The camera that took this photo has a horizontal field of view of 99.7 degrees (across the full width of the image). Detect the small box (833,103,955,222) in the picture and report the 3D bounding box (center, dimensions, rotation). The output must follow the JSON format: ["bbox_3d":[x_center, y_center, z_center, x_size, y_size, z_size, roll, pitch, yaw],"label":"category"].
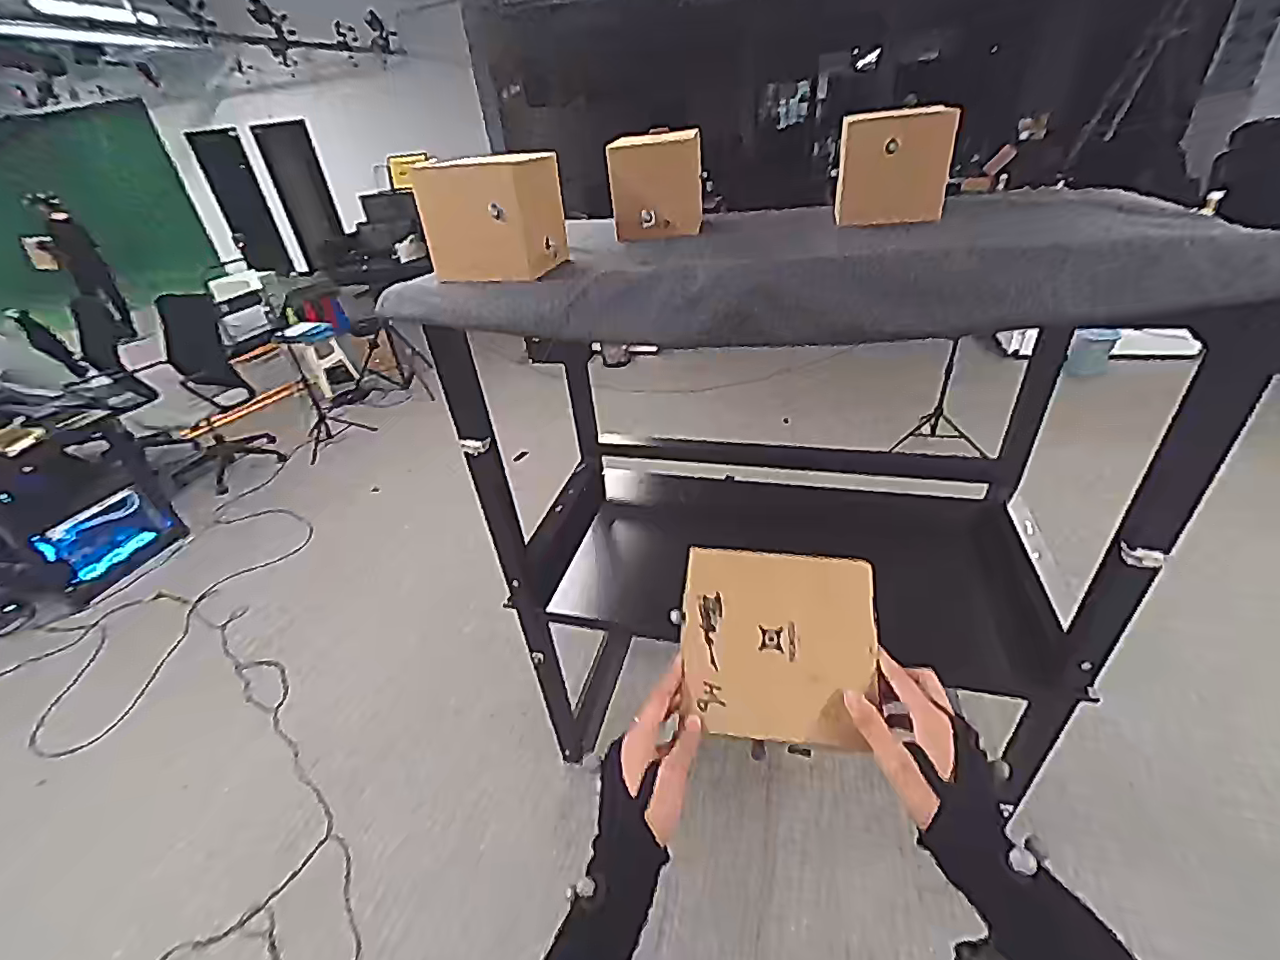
[{"bbox_3d":[0.452,-0.582,0.995,0.179,0.176,0.168,4,36,15],"label":"small box"}]

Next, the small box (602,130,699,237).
[{"bbox_3d":[0.030,-0.597,1.091,0.168,0.176,0.179,-1,34,10],"label":"small box"}]
